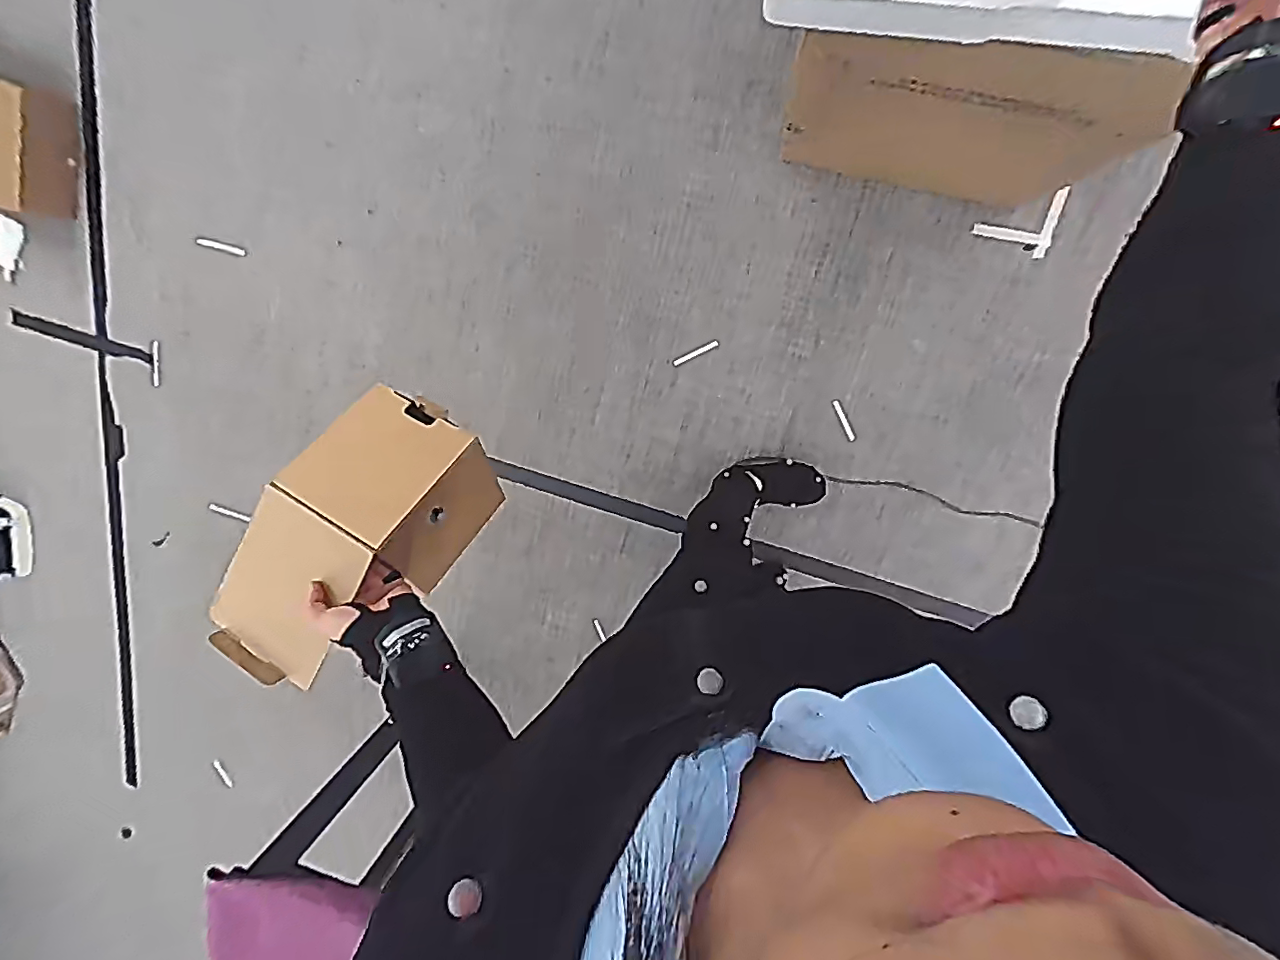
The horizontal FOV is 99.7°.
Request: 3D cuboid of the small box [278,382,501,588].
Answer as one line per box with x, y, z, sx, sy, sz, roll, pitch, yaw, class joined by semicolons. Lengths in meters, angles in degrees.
-0.305;0.014;0.704;0.168;0.176;0.179;29;64;14;small box
